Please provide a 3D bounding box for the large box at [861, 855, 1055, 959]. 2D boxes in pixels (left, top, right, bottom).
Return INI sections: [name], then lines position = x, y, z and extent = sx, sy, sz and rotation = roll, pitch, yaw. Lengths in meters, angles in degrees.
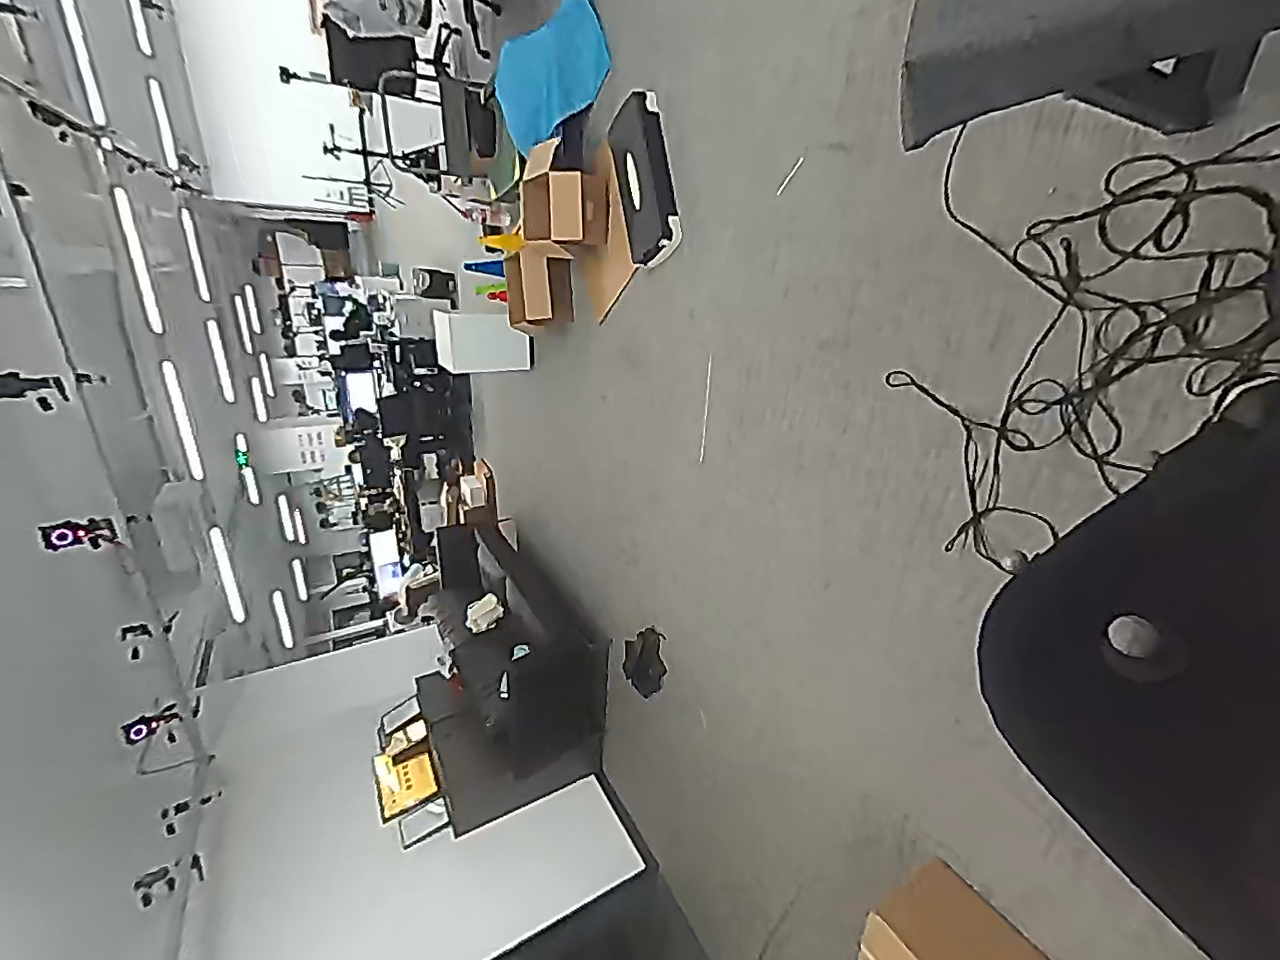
[large box]
position = 0.888, 1.370, 1.482
extent = 0.408, 0.320, 0.320
rotation = 33, 127, 55
